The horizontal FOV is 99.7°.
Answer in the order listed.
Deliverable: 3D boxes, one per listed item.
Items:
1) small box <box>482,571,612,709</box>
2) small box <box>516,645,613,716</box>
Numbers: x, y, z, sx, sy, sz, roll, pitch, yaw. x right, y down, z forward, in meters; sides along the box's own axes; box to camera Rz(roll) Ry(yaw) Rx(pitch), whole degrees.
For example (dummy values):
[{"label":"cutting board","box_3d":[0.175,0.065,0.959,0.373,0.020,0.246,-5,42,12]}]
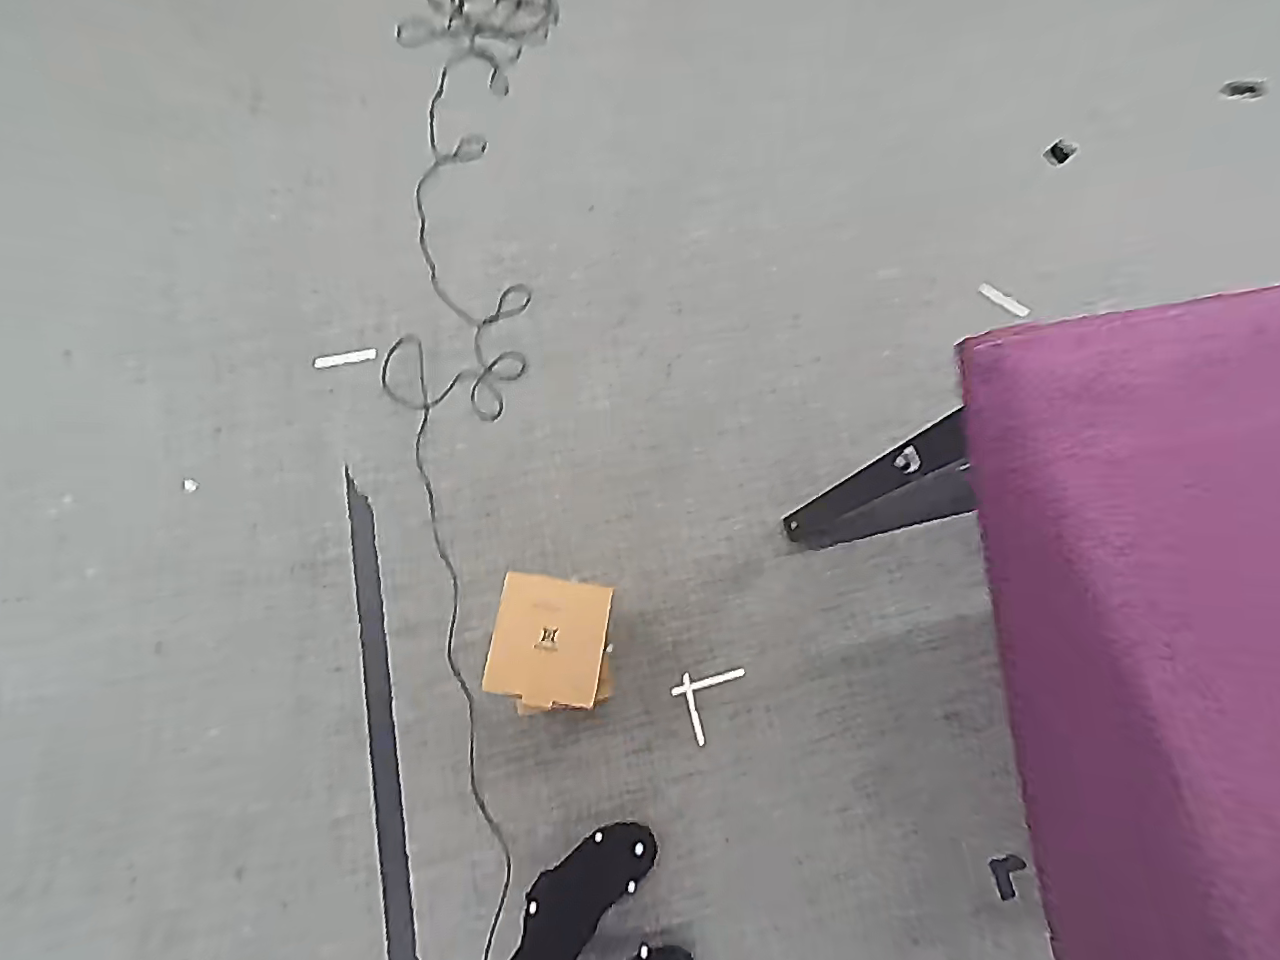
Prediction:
[{"label":"small box","box_3d":[-0.138,0.254,0.869,0.168,0.176,0.179,9,73,-1]},{"label":"small box","box_3d":[-0.146,0.327,1.017,0.168,0.176,0.179,-10,76,-6]}]
